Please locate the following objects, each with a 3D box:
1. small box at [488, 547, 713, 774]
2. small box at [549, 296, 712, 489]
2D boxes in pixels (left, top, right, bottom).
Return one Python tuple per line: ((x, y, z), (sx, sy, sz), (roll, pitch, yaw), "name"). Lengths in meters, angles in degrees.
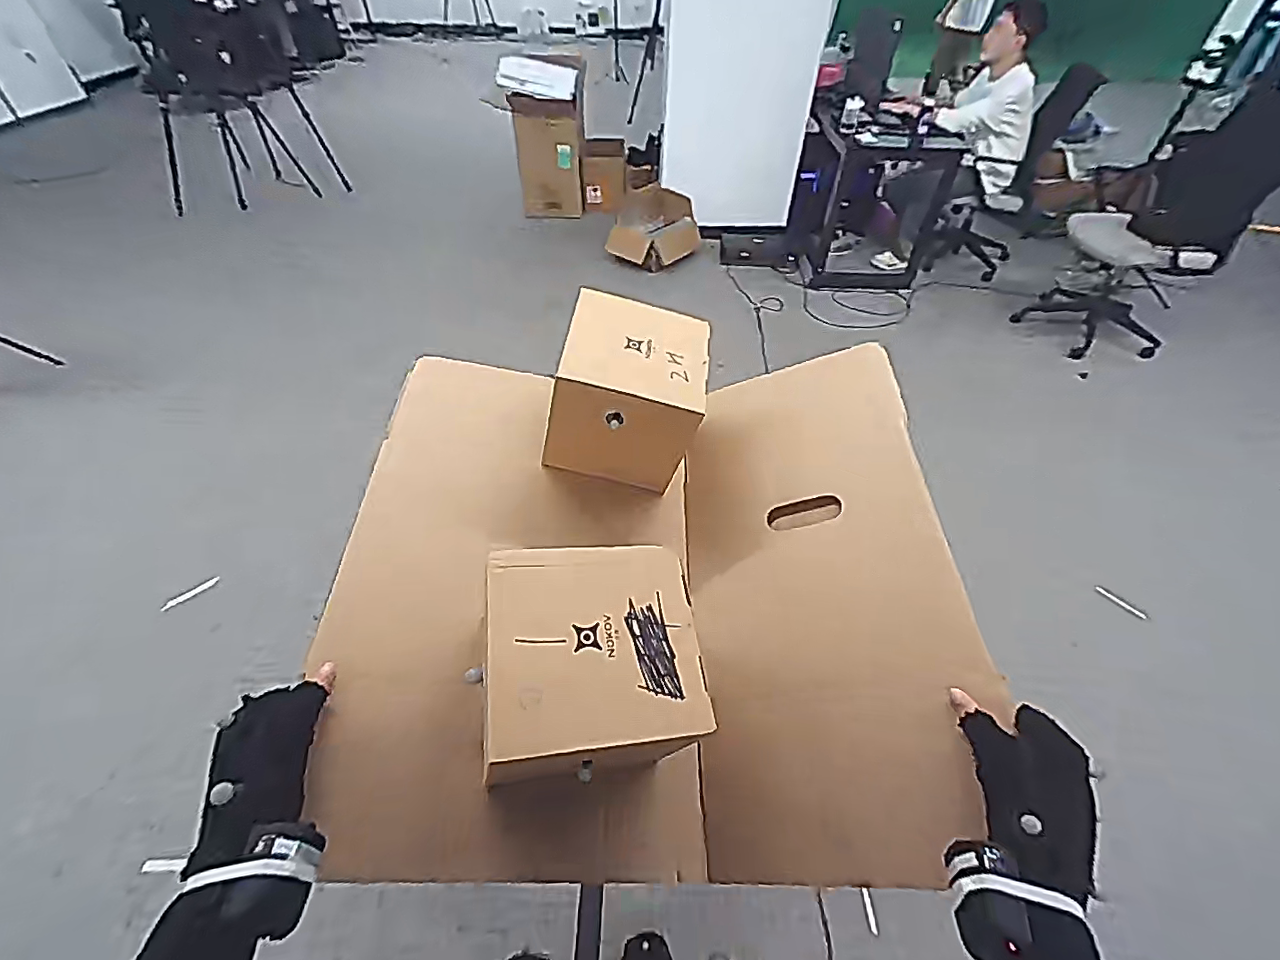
((-0.053, 0.175, 0.520), (0.179, 0.176, 0.168), (0, 57, -16), "small box")
((-0.017, -0.109, 0.725), (0.179, 0.176, 0.168), (15, 54, -8), "small box")
